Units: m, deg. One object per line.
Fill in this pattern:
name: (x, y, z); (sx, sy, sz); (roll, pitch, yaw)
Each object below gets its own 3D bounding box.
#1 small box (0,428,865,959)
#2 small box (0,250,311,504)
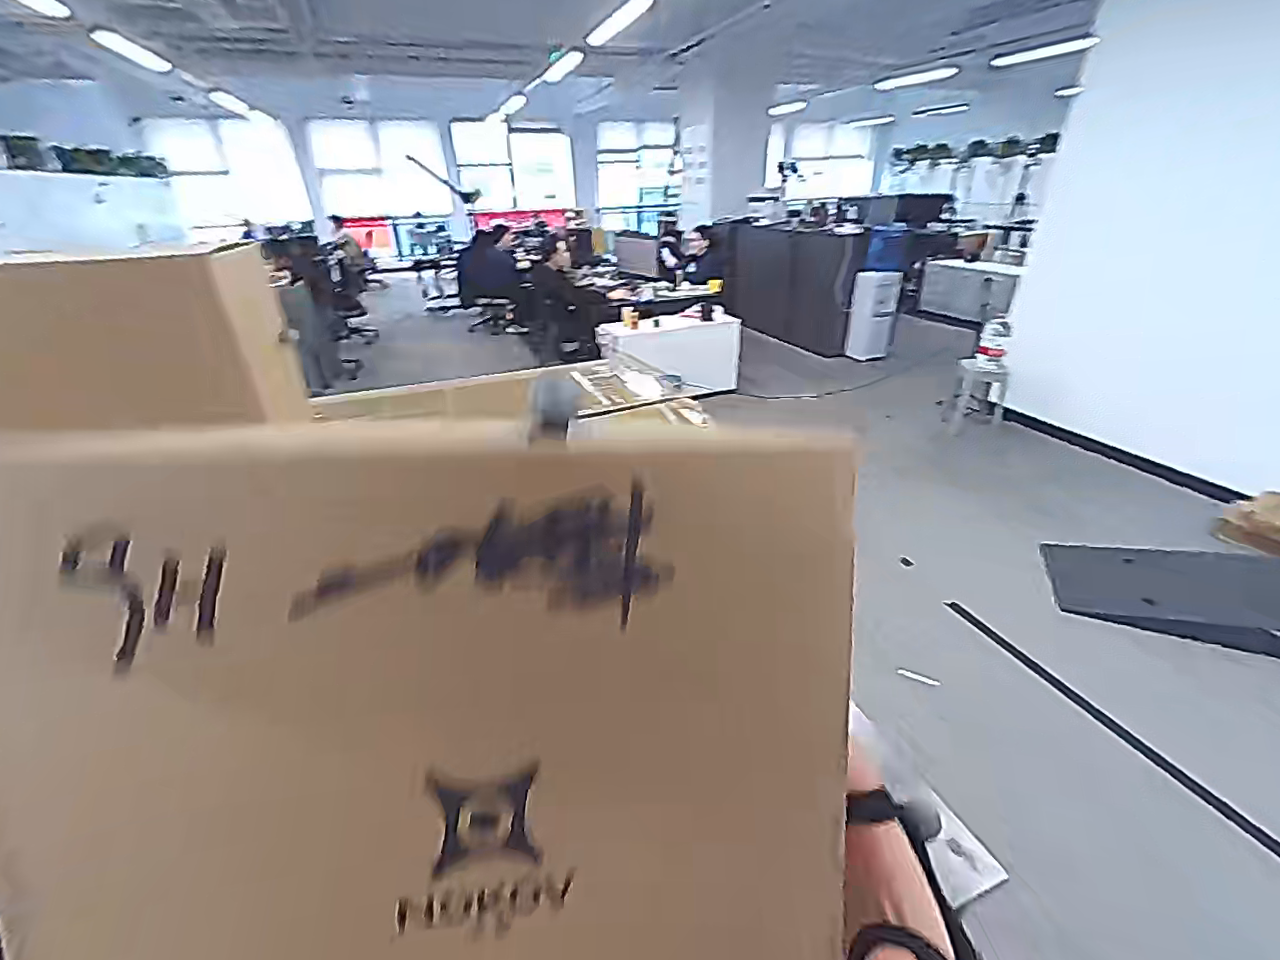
small box: (-0.045, 0.074, 0.198); (0.168, 0.179, 0.176); (-1, 8, -10)
small box: (-0.371, -0.076, 0.413); (0.168, 0.176, 0.179); (-15, 30, -21)
